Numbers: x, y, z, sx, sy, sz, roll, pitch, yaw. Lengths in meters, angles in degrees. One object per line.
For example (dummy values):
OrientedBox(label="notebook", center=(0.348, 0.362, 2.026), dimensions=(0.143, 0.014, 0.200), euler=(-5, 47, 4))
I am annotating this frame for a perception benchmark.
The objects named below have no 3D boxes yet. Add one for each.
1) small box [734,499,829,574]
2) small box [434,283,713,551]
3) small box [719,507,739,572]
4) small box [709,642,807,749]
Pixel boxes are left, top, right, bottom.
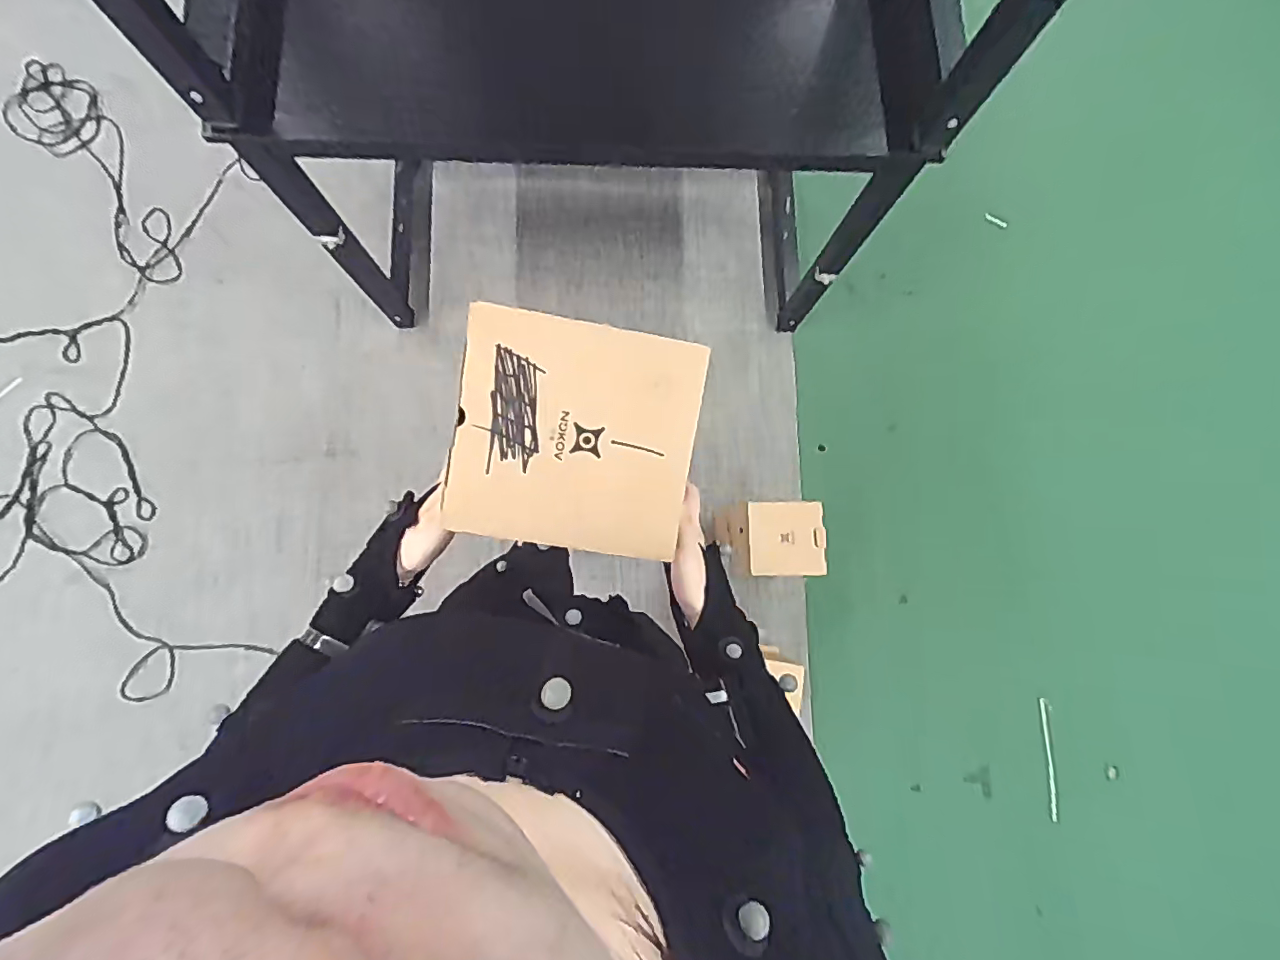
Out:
OrientedBox(label="small box", center=(0.324, 0.136, 1.273), dimensions=(0.179, 0.176, 0.168), euler=(-1, 81, -5))
OrientedBox(label="small box", center=(-0.053, -0.049, 0.459), dimensions=(0.179, 0.176, 0.168), euler=(9, 95, -6))
OrientedBox(label="small box", center=(0.307, 0.161, 1.433), dimensions=(0.179, 0.176, 0.168), euler=(-1, 82, -3))
OrientedBox(label="small box", center=(0.259, 0.474, 1.217), dimensions=(0.168, 0.176, 0.179), euler=(11, 82, 0))
